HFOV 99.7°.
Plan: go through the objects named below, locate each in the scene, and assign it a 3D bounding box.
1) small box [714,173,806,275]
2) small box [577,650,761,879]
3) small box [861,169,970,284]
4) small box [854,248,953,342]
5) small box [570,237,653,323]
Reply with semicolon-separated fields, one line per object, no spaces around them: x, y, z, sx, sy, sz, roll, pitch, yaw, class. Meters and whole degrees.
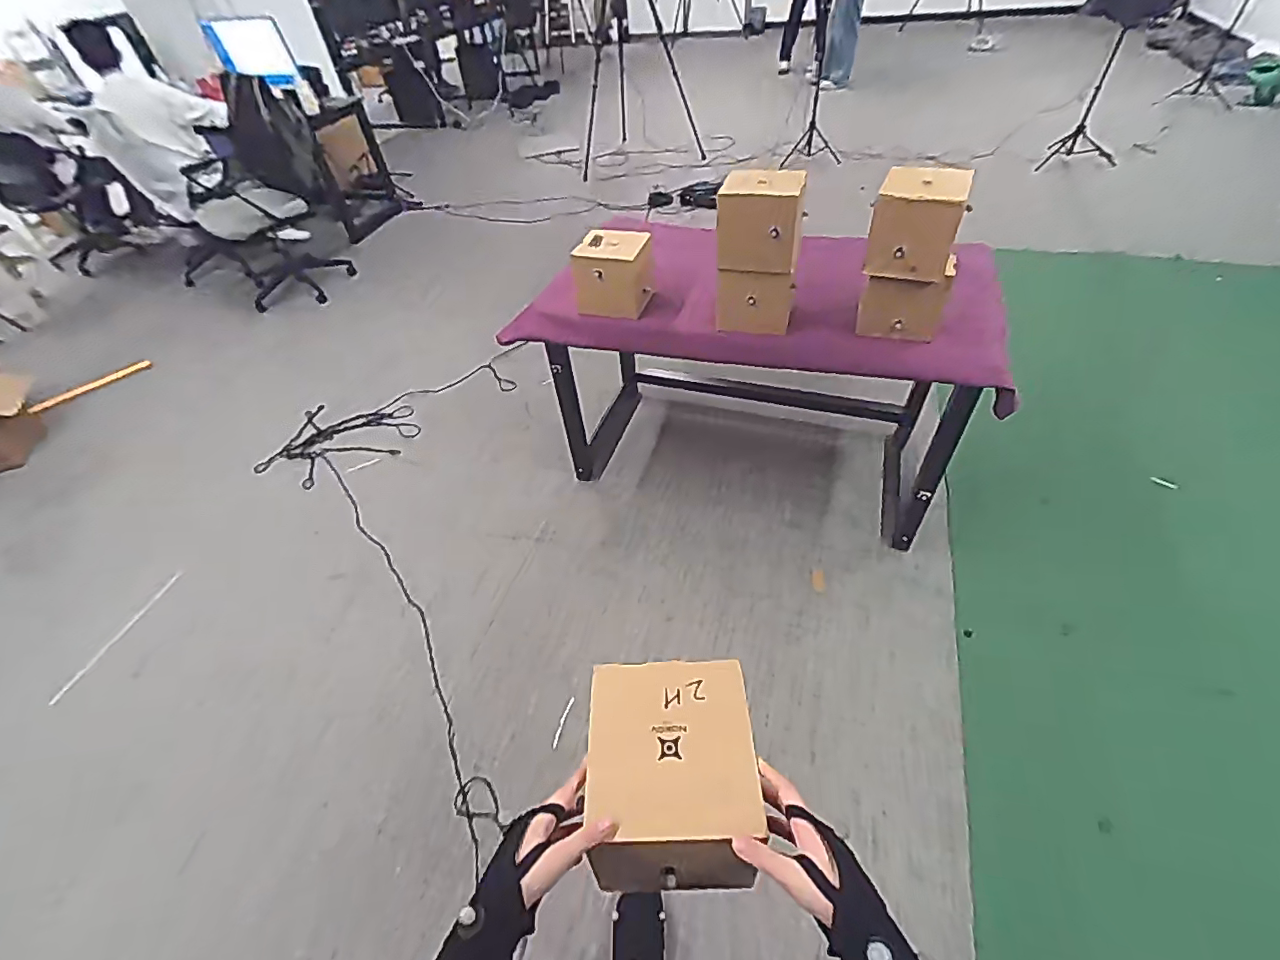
0.273;-0.587;1.245;0.179;0.176;0.168;10;47;17;small box
0.032;0.308;0.584;0.168;0.176;0.179;-2;39;2;small box
0.590;-0.550;1.169;0.168;0.176;0.179;16;51;22;small box
0.625;-0.447;1.294;0.179;0.176;0.168;10;47;16;small box
-0.071;-0.546;1.475;0.179;0.176;0.168;10;48;15;small box
